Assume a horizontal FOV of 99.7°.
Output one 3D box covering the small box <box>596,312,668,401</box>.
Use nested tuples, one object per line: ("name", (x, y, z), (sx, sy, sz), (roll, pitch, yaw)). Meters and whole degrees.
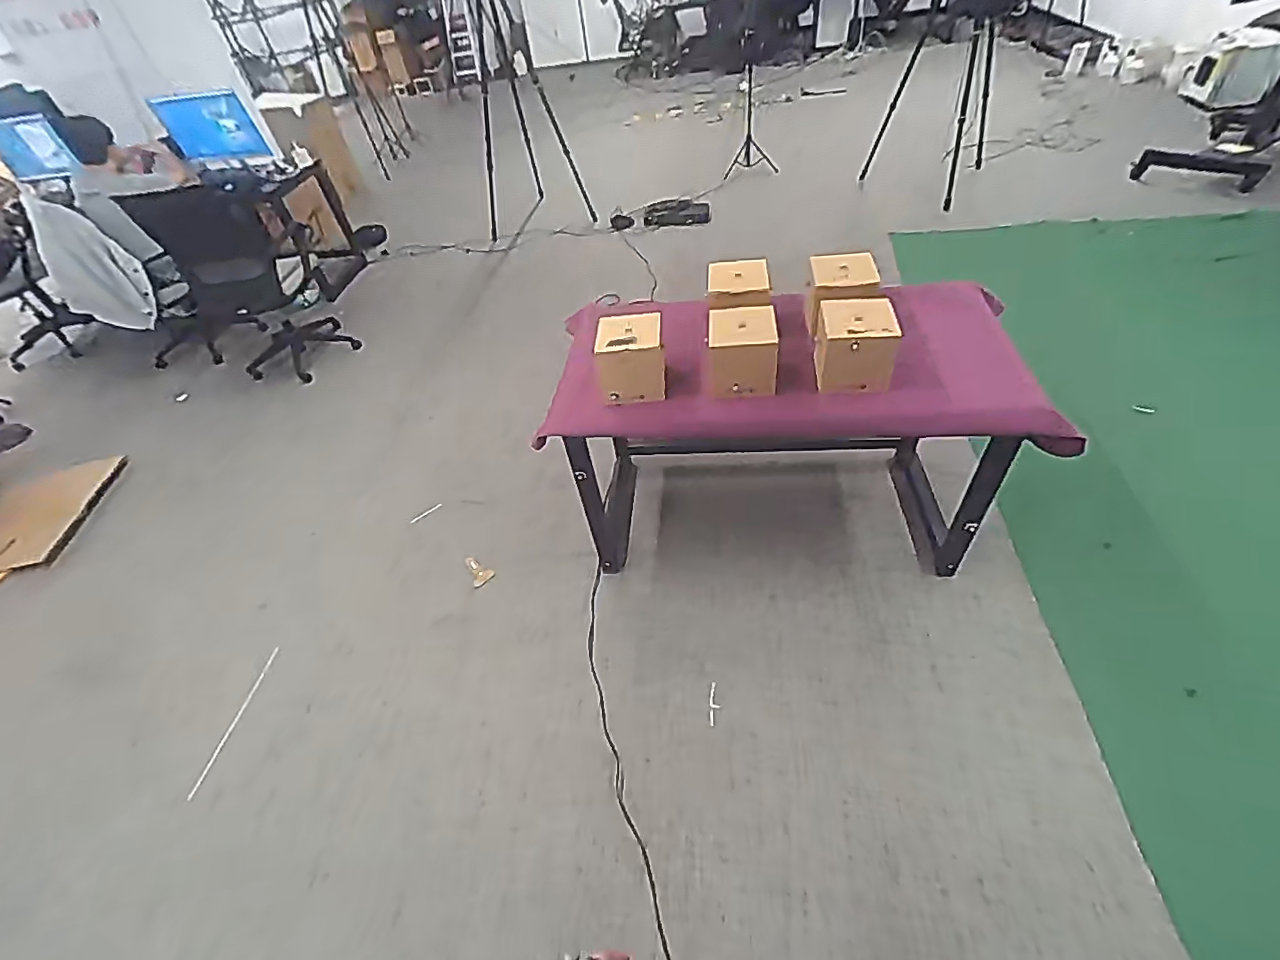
("small box", (-0.015, -0.324, 1.446), (0.168, 0.176, 0.179), (-3, 45, 7))

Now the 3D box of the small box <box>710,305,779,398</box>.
("small box", (0.269, -0.333, 1.405), (0.168, 0.176, 0.179), (-1, 48, 11))

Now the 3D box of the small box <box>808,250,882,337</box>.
("small box", (0.569, -0.522, 1.522), (0.168, 0.176, 0.179), (0, 48, 11))

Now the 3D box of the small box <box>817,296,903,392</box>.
("small box", (0.541, -0.339, 1.357), (0.168, 0.176, 0.179), (0, 47, 12))
